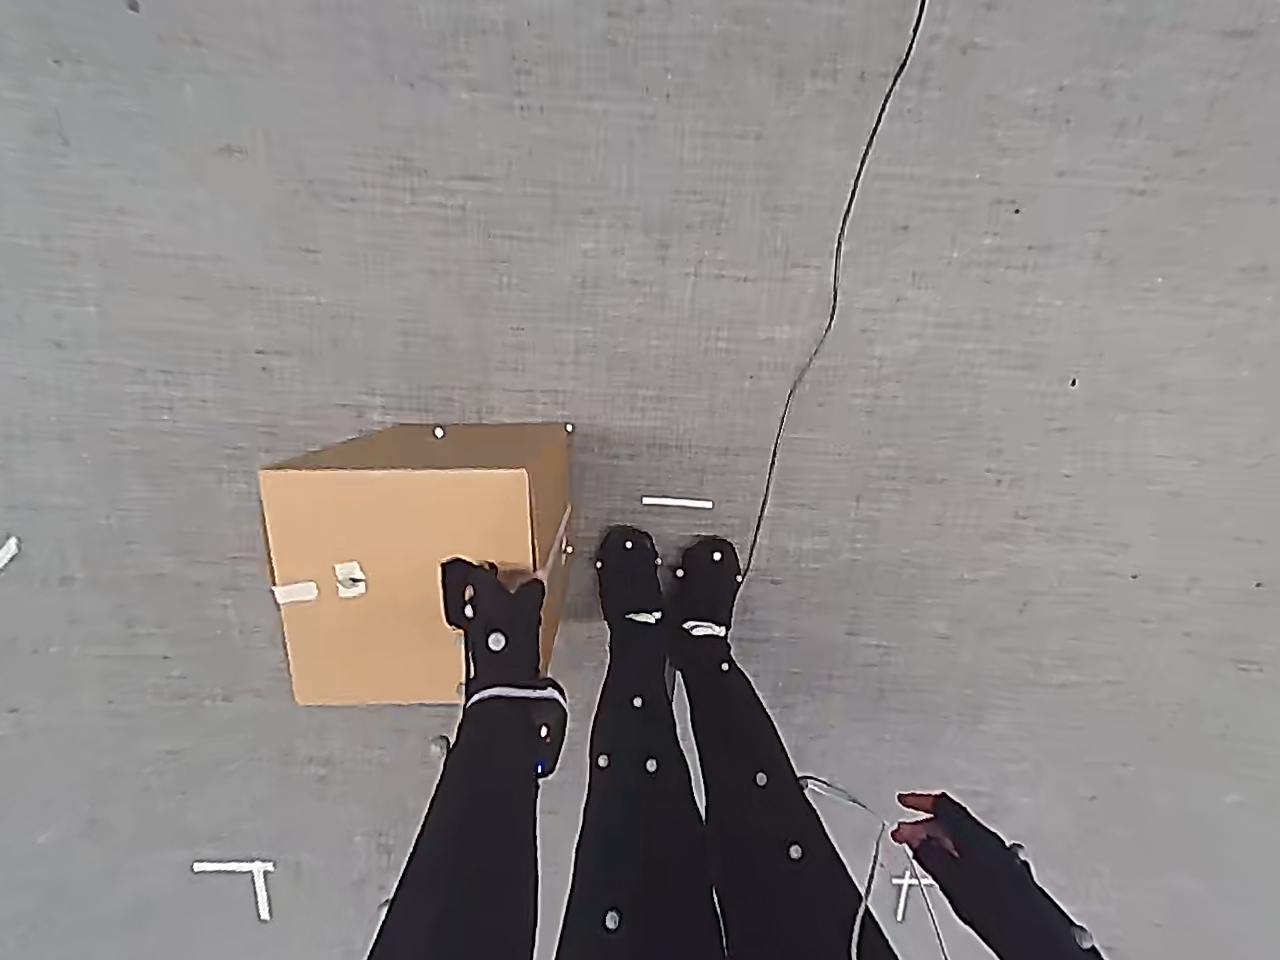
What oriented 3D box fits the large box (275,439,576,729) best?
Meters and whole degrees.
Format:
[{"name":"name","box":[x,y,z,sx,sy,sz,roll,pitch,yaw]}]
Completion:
[{"name":"large box","box":[-0.277,0.122,0.846,0.320,0.408,0.320,0,104,-2]}]
